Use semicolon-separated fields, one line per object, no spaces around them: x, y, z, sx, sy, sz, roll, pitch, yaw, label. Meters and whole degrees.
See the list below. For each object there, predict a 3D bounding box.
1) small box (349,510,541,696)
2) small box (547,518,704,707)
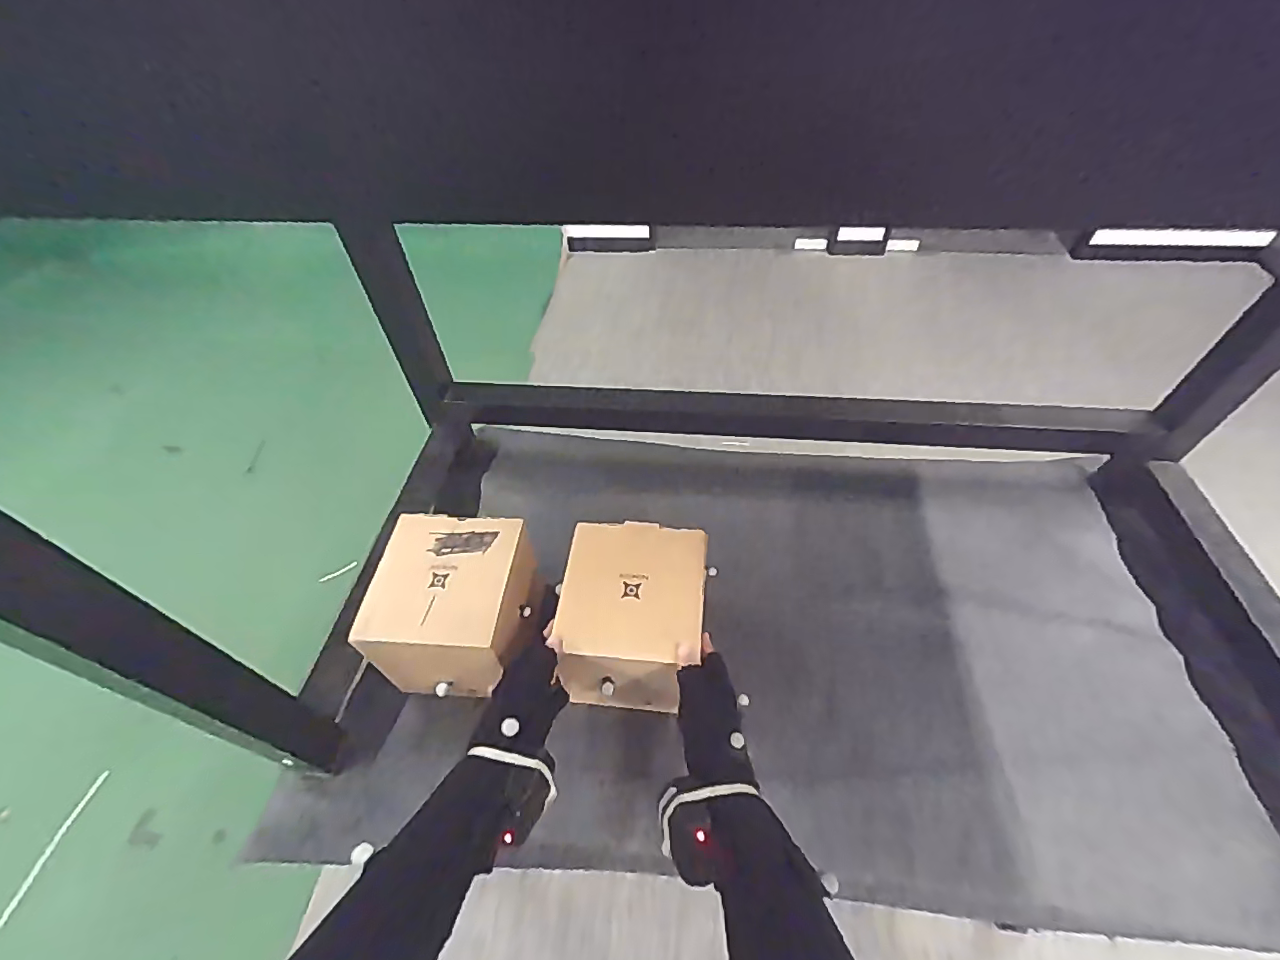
-0.233;0.160;0.705;0.168;0.176;0.179;2;50;5;small box
-0.007;0.170;0.687;0.168;0.176;0.179;4;49;6;small box
